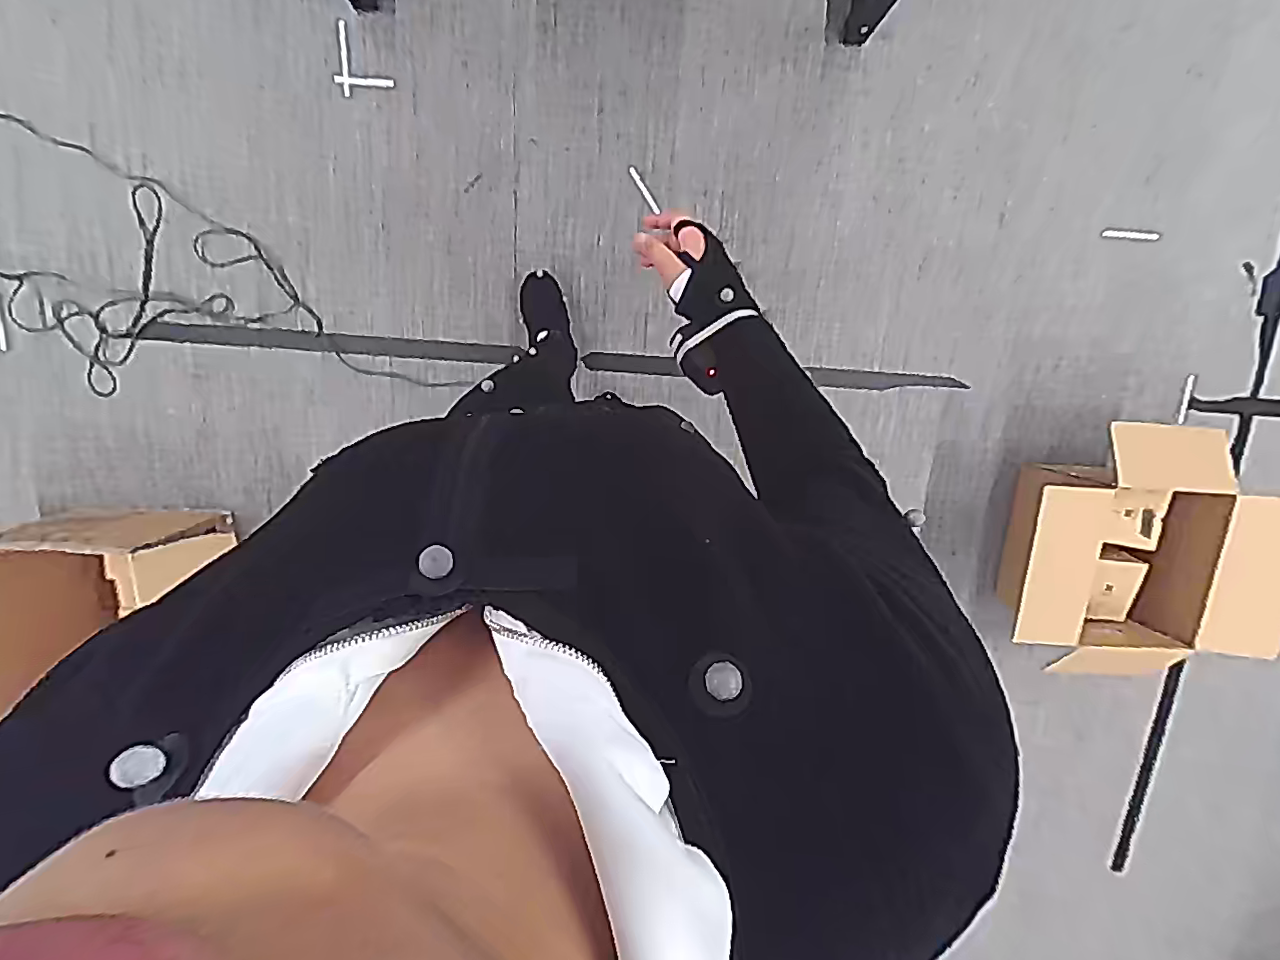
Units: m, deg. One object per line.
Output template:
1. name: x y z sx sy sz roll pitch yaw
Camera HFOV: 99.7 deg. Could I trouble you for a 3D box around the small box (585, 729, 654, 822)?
1. small box: -0.060 0.844 1.555 0.179 0.176 0.168 6 99 -3
